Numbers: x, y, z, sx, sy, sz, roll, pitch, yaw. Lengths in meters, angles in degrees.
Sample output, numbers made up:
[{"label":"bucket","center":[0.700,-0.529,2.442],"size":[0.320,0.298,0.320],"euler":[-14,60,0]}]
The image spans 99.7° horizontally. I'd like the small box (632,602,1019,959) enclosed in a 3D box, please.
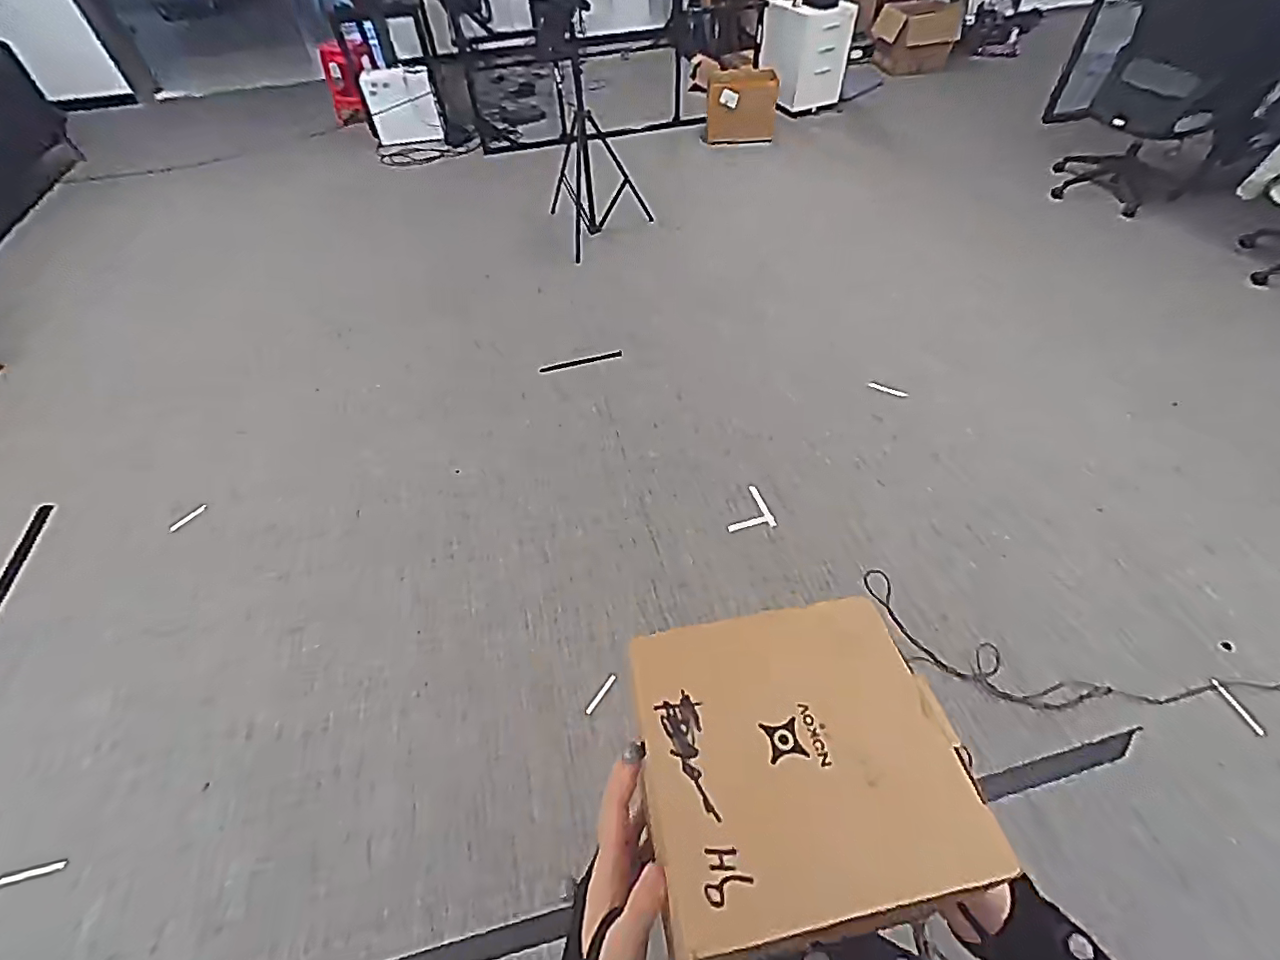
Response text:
[{"label":"small box","center":[0.092,0.209,0.370],"size":[0.179,0.176,0.168],"euler":[-8,44,-8]}]
